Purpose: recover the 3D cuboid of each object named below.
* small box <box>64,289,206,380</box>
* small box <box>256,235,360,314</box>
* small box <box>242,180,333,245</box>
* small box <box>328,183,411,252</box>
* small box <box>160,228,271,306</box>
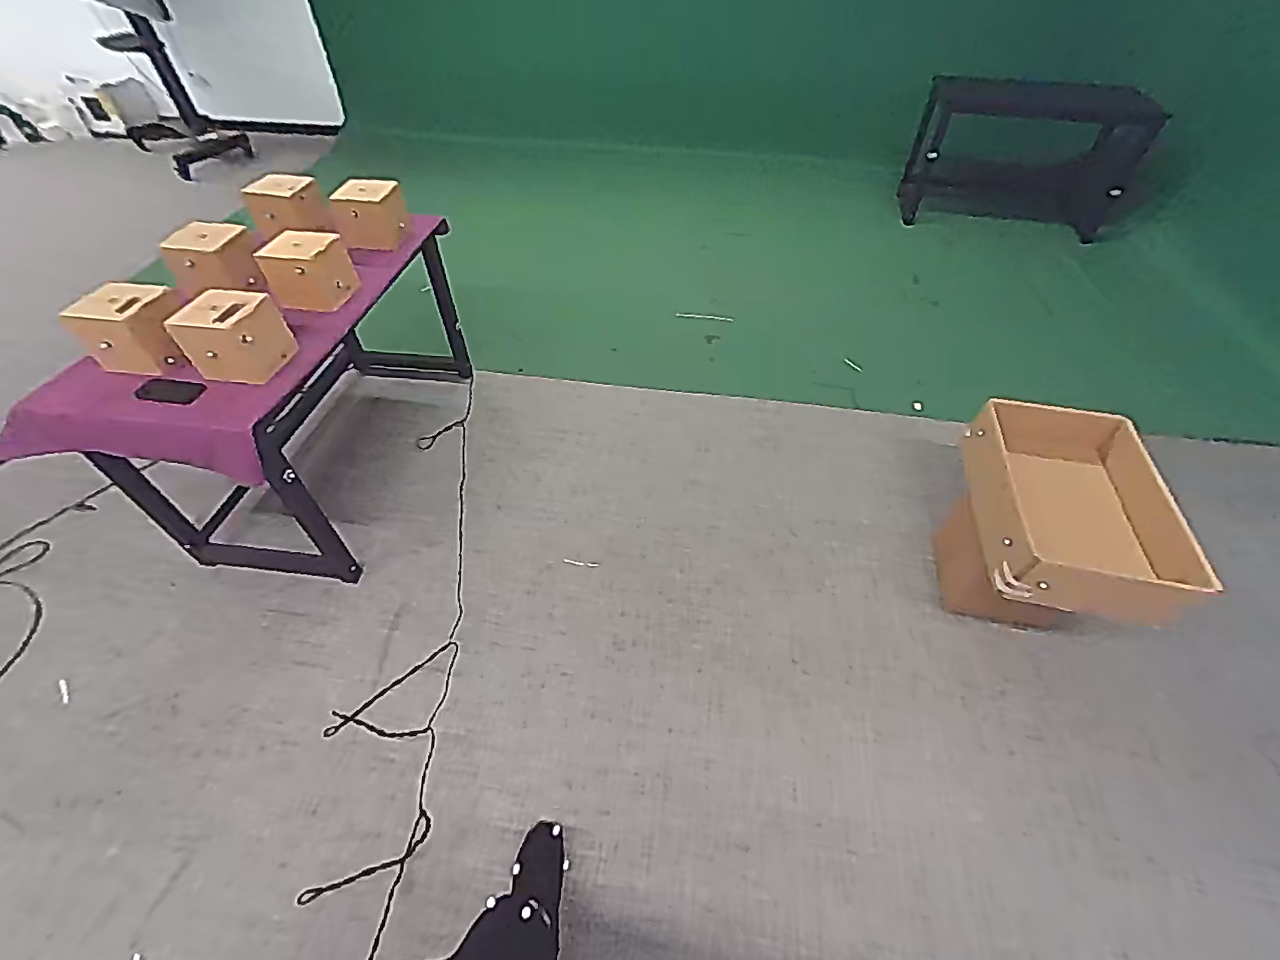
[{"bbox_3d":[-1.312,-0.380,1.423,0.179,0.176,0.168,5,49,5],"label":"small box"},{"bbox_3d":[-0.991,-0.617,1.629,0.179,0.176,0.168,6,49,7],"label":"small box"},{"bbox_3d":[-1.241,-0.944,1.918,0.179,0.176,0.168,6,50,6],"label":"small box"},{"bbox_3d":[-0.935,-0.915,1.885,0.179,0.176,0.168,5,50,4],"label":"small box"},{"bbox_3d":[-1.293,-0.653,1.665,0.179,0.176,0.168,6,50,4],"label":"small box"}]
